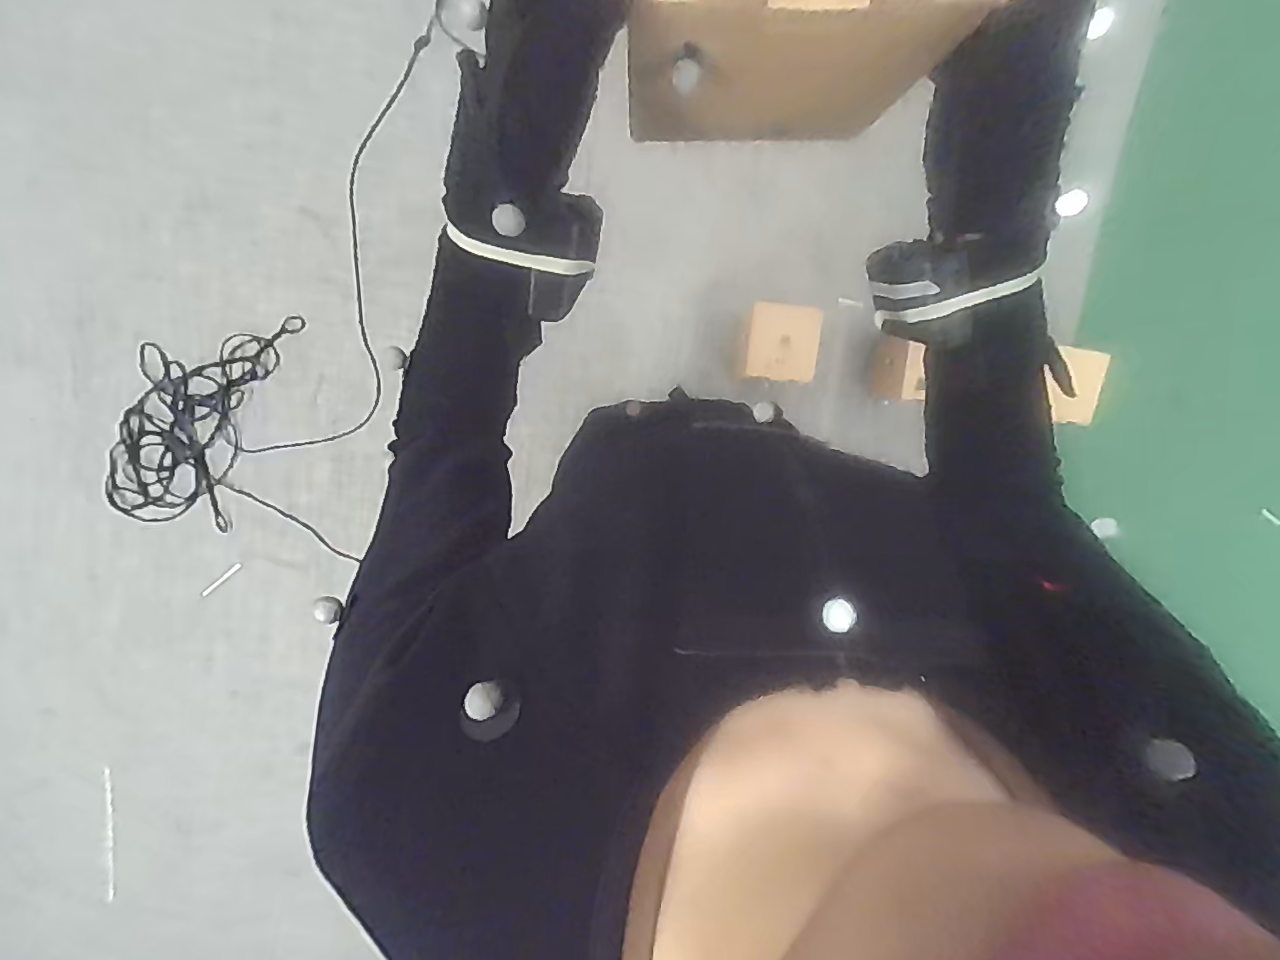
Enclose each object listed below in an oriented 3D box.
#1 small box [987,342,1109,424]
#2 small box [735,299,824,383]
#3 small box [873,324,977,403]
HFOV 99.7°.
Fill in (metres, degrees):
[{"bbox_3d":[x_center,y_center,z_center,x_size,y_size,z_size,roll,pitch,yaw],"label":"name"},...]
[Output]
[{"bbox_3d":[1.031,-0.246,1.384,0.168,0.176,0.179,9,99,-2],"label":"small box"},{"bbox_3d":[0.339,-0.340,1.350,0.168,0.176,0.179,6,99,-1],"label":"small box"},{"bbox_3d":[0.711,-0.290,1.369,0.168,0.176,0.179,4,98,-2],"label":"small box"}]
